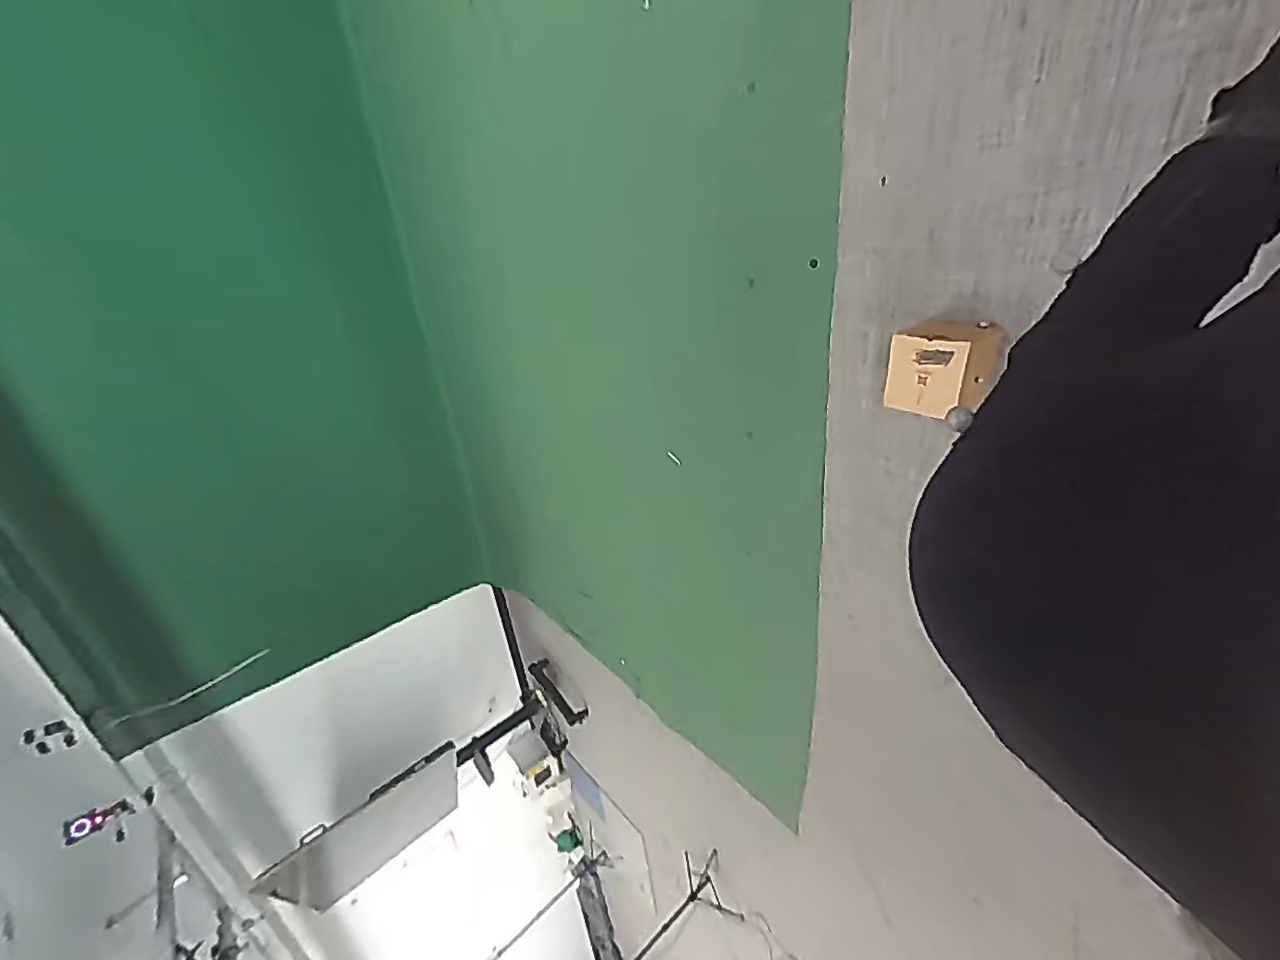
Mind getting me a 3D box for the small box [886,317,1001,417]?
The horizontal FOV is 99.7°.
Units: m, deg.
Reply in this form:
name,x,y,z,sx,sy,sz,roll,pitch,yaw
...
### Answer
name,x,y,z,sx,sy,sz,roll,pitch,yaw
small box,0.693,-0.266,1.236,0.168,0.176,0.179,26,131,44
